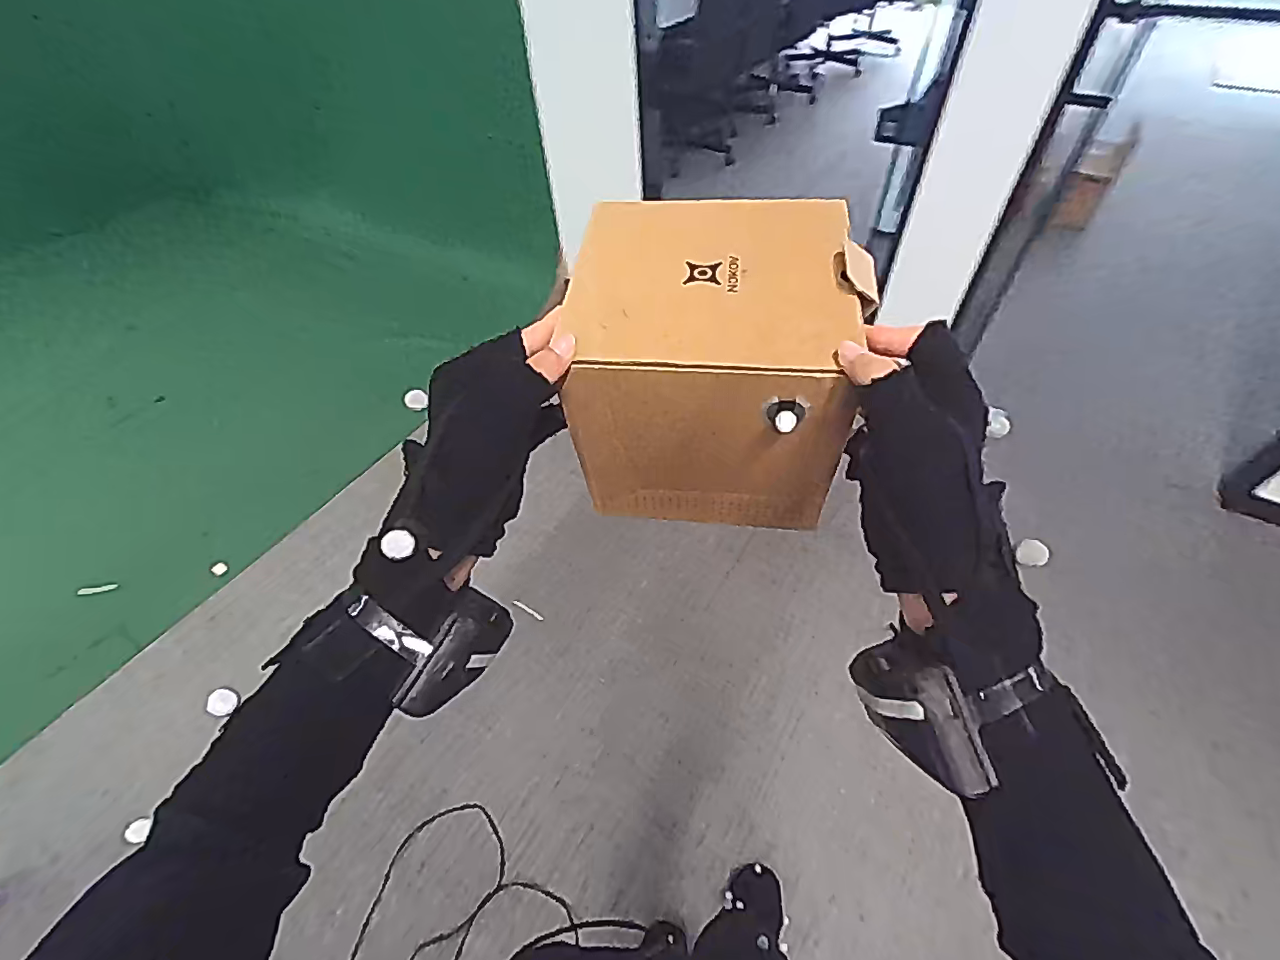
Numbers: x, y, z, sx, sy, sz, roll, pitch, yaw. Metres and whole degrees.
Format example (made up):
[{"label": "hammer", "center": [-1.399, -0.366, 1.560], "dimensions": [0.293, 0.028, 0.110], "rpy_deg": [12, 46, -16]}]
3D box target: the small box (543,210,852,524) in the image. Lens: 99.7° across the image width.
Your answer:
[{"label": "small box", "center": [0.044, -0.079, 0.410], "dimensions": [0.179, 0.176, 0.168], "rpy_deg": [3, 55, 7]}]
